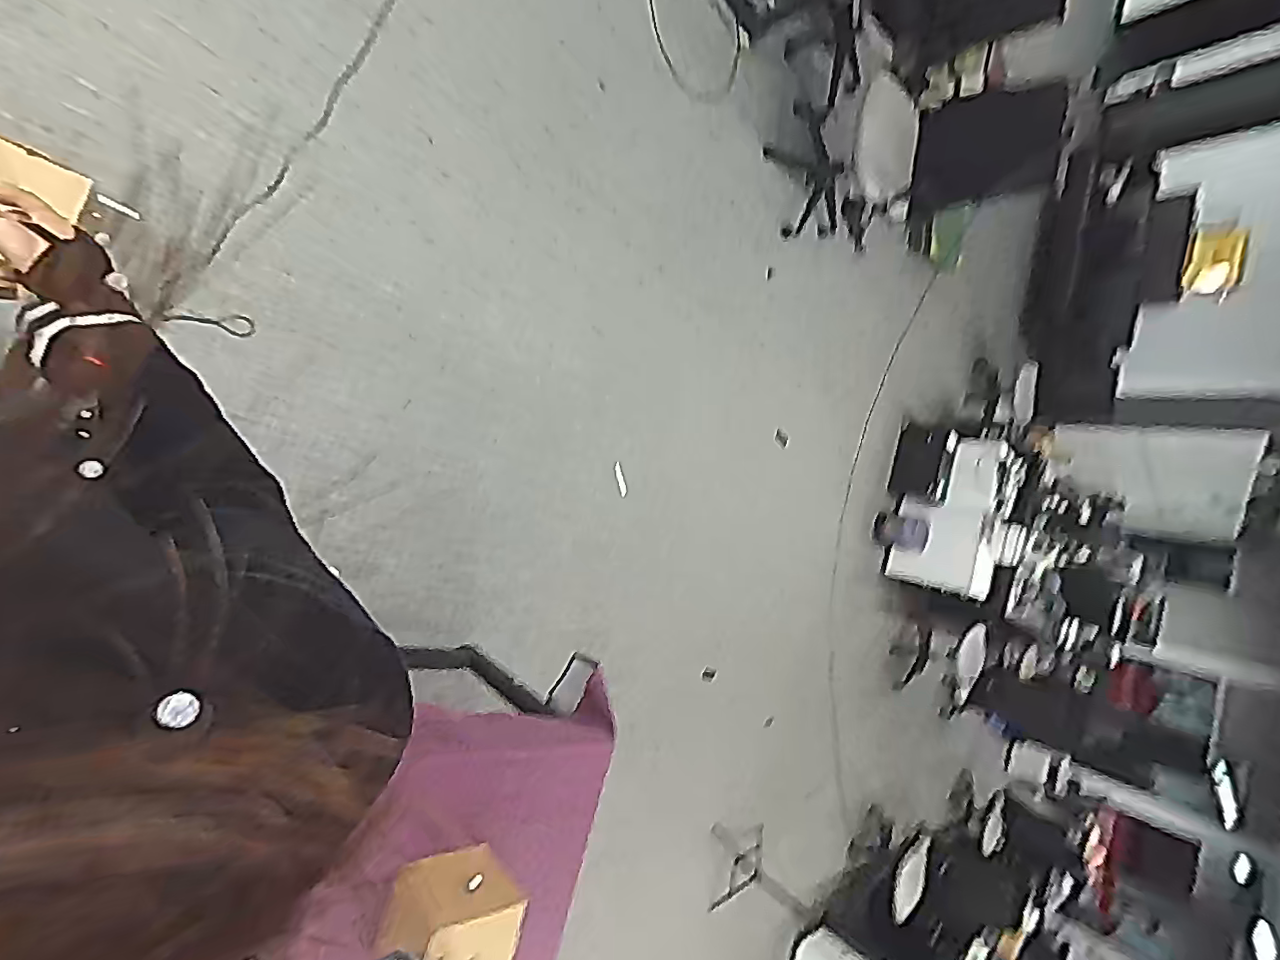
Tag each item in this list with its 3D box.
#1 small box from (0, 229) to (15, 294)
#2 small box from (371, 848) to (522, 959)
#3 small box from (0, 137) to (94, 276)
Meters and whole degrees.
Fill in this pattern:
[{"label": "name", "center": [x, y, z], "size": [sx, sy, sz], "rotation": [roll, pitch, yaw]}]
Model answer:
[{"label": "small box", "center": [-0.723, -0.260, 0.493], "size": [0.179, 0.176, 0.168], "rotation": [-17, 111, -46]}, {"label": "small box", "center": [-0.347, 0.800, 0.966], "size": [0.179, 0.176, 0.168], "rotation": [19, 84, -43]}, {"label": "small box", "center": [-1.161, -0.510, 1.007], "size": [0.168, 0.176, 0.179], "rotation": [23, 81, -42]}]
